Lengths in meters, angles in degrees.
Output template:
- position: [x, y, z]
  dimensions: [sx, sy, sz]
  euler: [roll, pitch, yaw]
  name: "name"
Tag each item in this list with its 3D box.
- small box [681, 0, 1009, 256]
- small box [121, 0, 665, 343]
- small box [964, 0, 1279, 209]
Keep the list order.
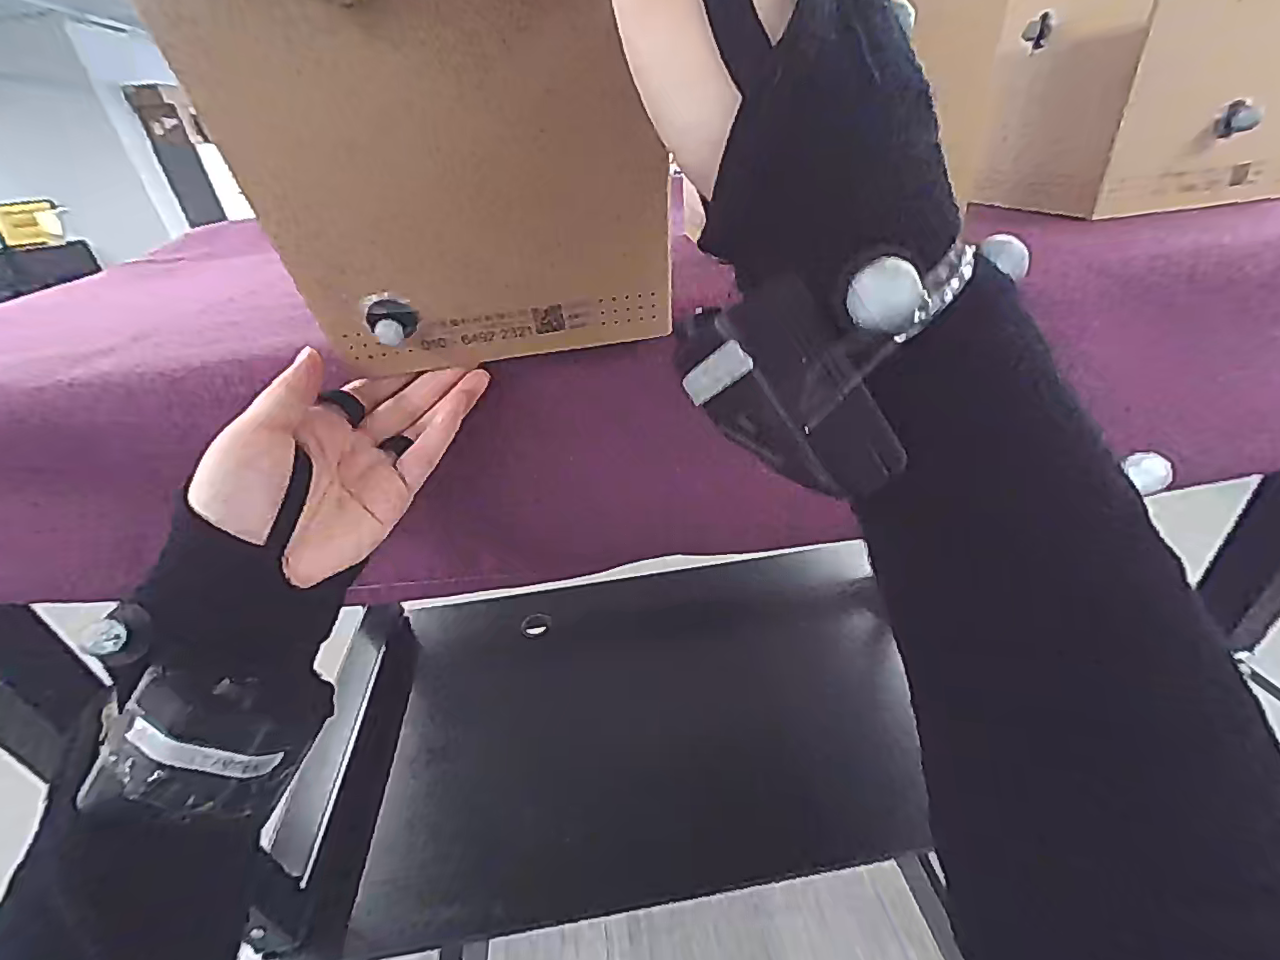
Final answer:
- position: [0.126, -0.273, 0.402]
  dimensions: [0.179, 0.176, 0.168]
  euler: [-6, 31, -2]
  name: "small box"
- position: [-0.082, -0.181, 0.261]
  dimensions: [0.168, 0.176, 0.179]
  euler: [-9, 50, -4]
  name: "small box"
- position: [0.392, -0.315, 0.423]
  dimensions: [0.168, 0.176, 0.179]
  euler: [-7, 32, -1]
  name: "small box"
